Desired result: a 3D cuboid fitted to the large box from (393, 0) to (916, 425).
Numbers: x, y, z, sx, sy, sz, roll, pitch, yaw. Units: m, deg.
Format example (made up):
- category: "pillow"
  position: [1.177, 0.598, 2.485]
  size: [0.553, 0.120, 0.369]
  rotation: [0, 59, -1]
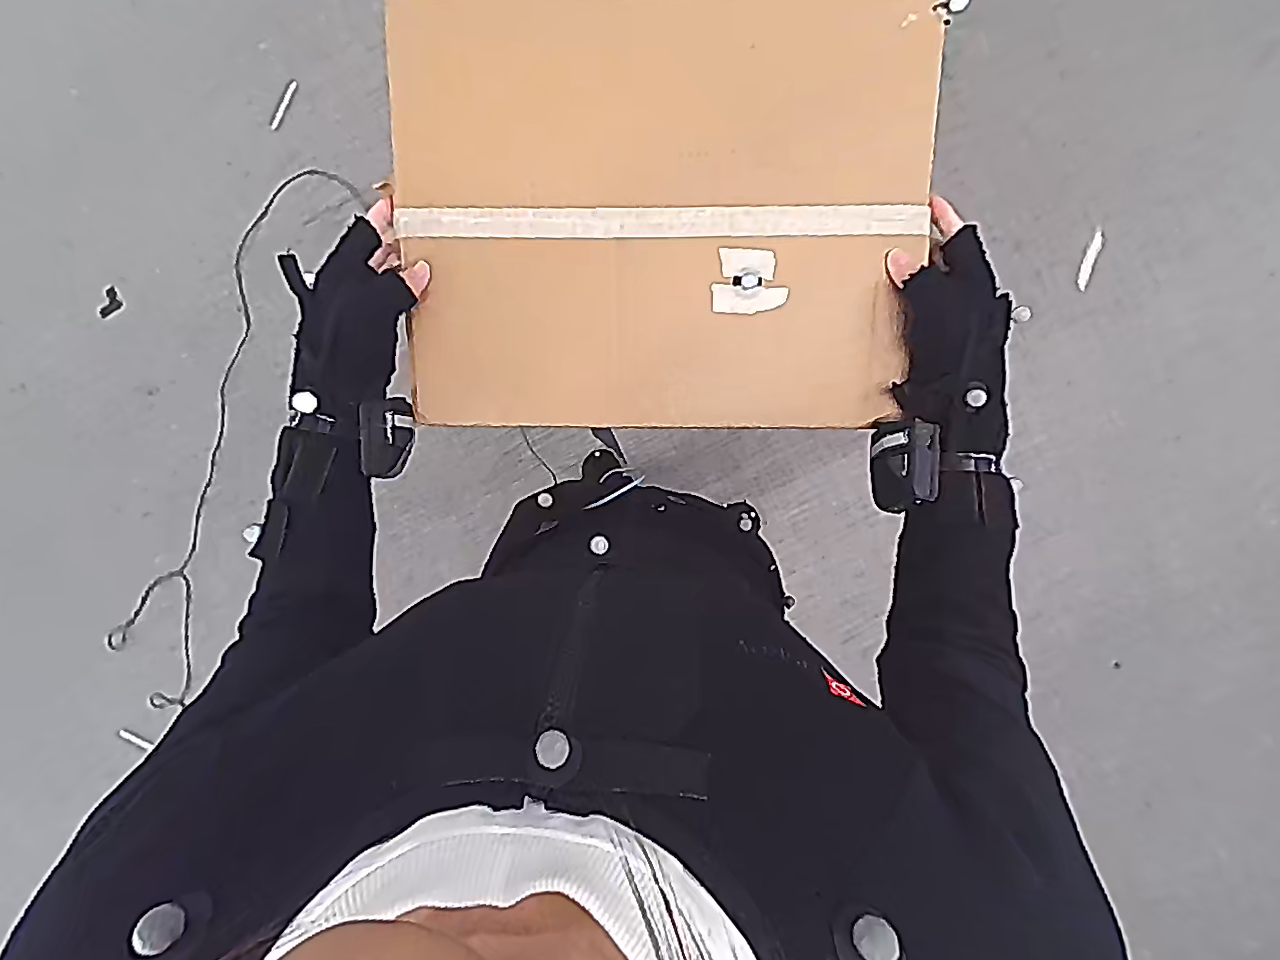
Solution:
- category: "large box"
  position: [0.012, -0.228, 0.578]
  size: [0.408, 0.320, 0.320]
  rotation: [0, 100, 1]
